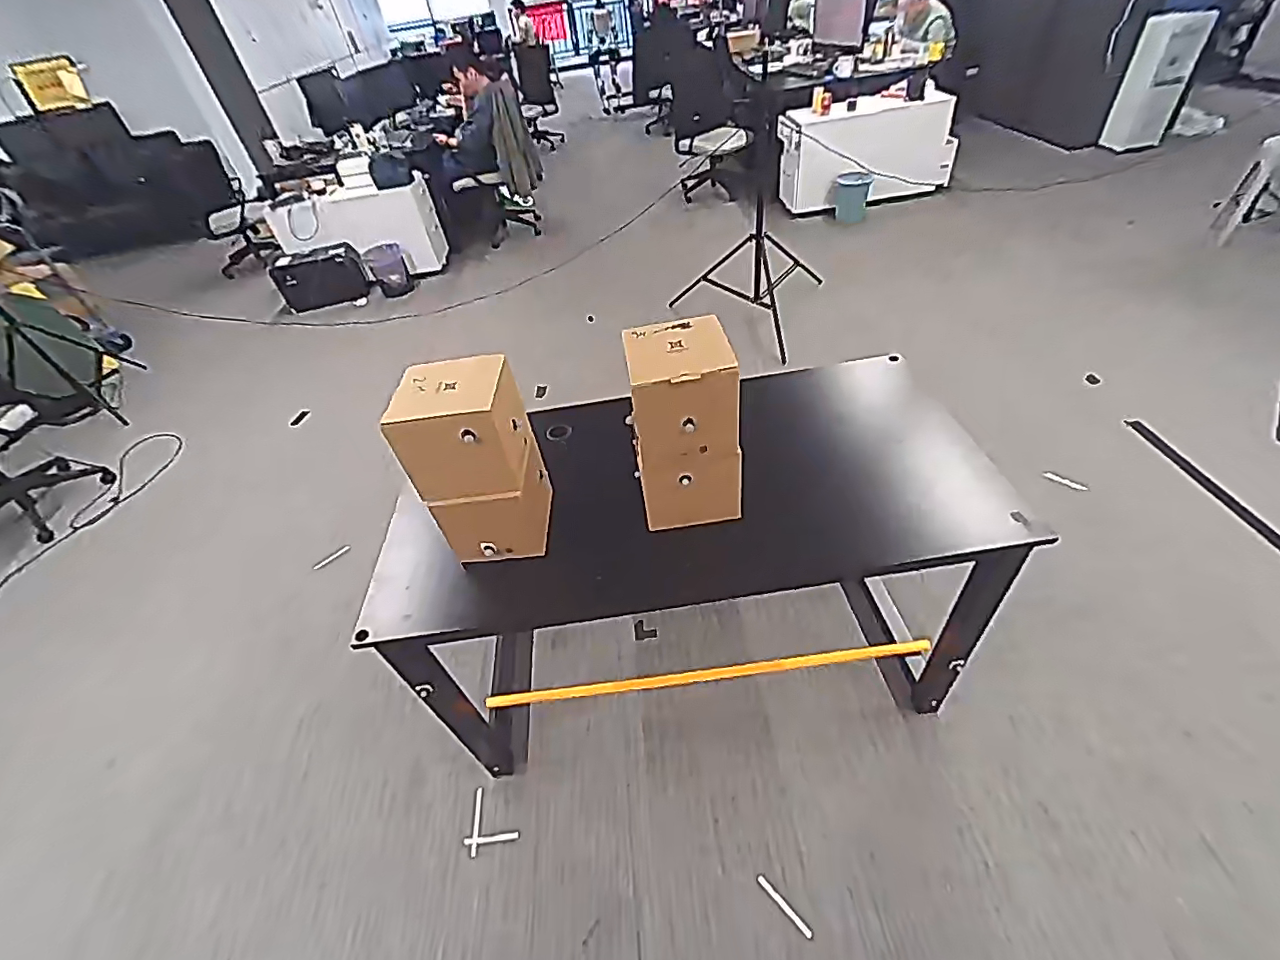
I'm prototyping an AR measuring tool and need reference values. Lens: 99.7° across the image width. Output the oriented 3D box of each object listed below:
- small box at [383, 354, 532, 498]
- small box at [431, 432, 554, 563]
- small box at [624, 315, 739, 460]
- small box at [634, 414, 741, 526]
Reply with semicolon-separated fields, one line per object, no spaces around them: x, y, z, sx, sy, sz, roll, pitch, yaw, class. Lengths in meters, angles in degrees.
-0.292;-0.088;0.915;0.179;0.176;0.168;-7;43;4;small box
-0.266;0.034;1.024;0.168;0.176;0.179;-7;44;4;small box
0.071;-0.149;0.912;0.168;0.176;0.179;-9;44;1;small box
0.091;-0.029;1.022;0.179;0.176;0.168;-8;44;1;small box
